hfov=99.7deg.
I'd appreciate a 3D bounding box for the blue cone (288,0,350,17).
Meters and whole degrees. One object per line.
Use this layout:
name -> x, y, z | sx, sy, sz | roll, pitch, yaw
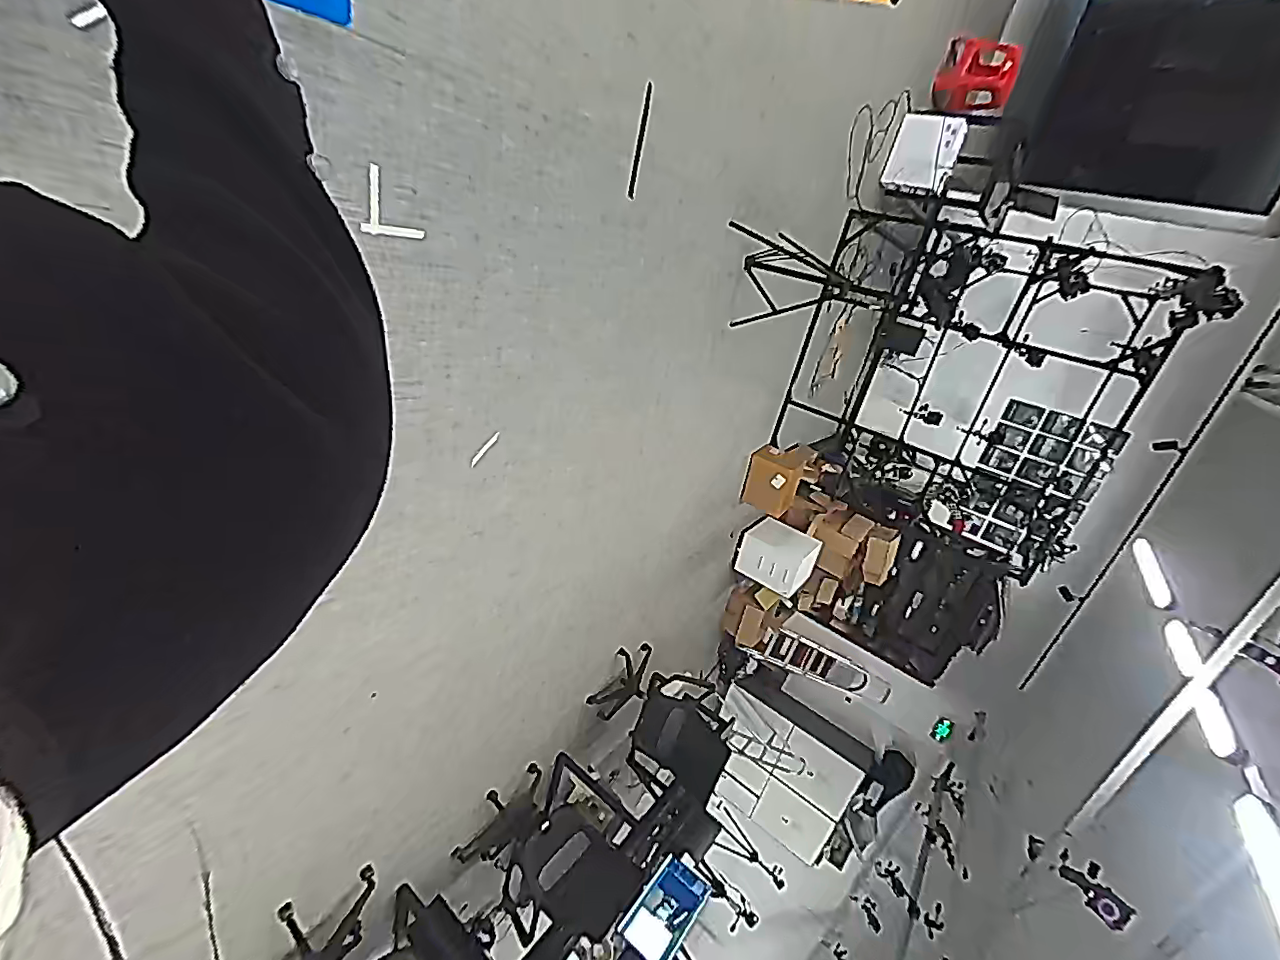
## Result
blue cone -> -0.528, -0.968, 0.962 | 0.193, 0.380, 0.192 | -24, 132, -50
